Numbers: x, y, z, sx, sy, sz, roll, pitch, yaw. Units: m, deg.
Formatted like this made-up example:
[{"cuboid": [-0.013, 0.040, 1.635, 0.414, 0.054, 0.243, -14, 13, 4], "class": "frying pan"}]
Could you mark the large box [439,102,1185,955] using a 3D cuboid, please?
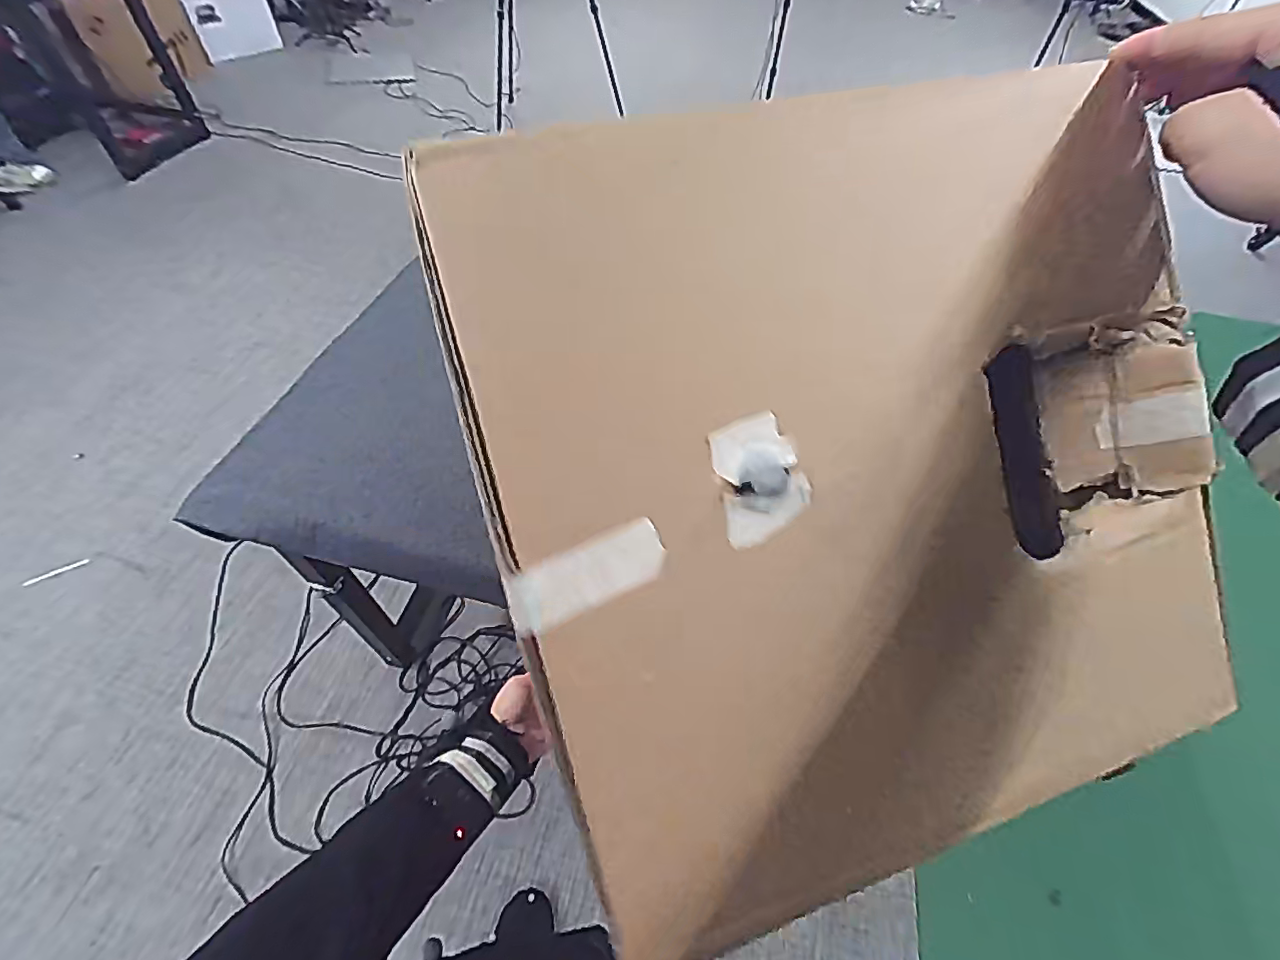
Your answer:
[{"cuboid": [0.058, 0.000, 0.419, 0.320, 0.408, 0.320, -16, 96, -14], "class": "large box"}]
